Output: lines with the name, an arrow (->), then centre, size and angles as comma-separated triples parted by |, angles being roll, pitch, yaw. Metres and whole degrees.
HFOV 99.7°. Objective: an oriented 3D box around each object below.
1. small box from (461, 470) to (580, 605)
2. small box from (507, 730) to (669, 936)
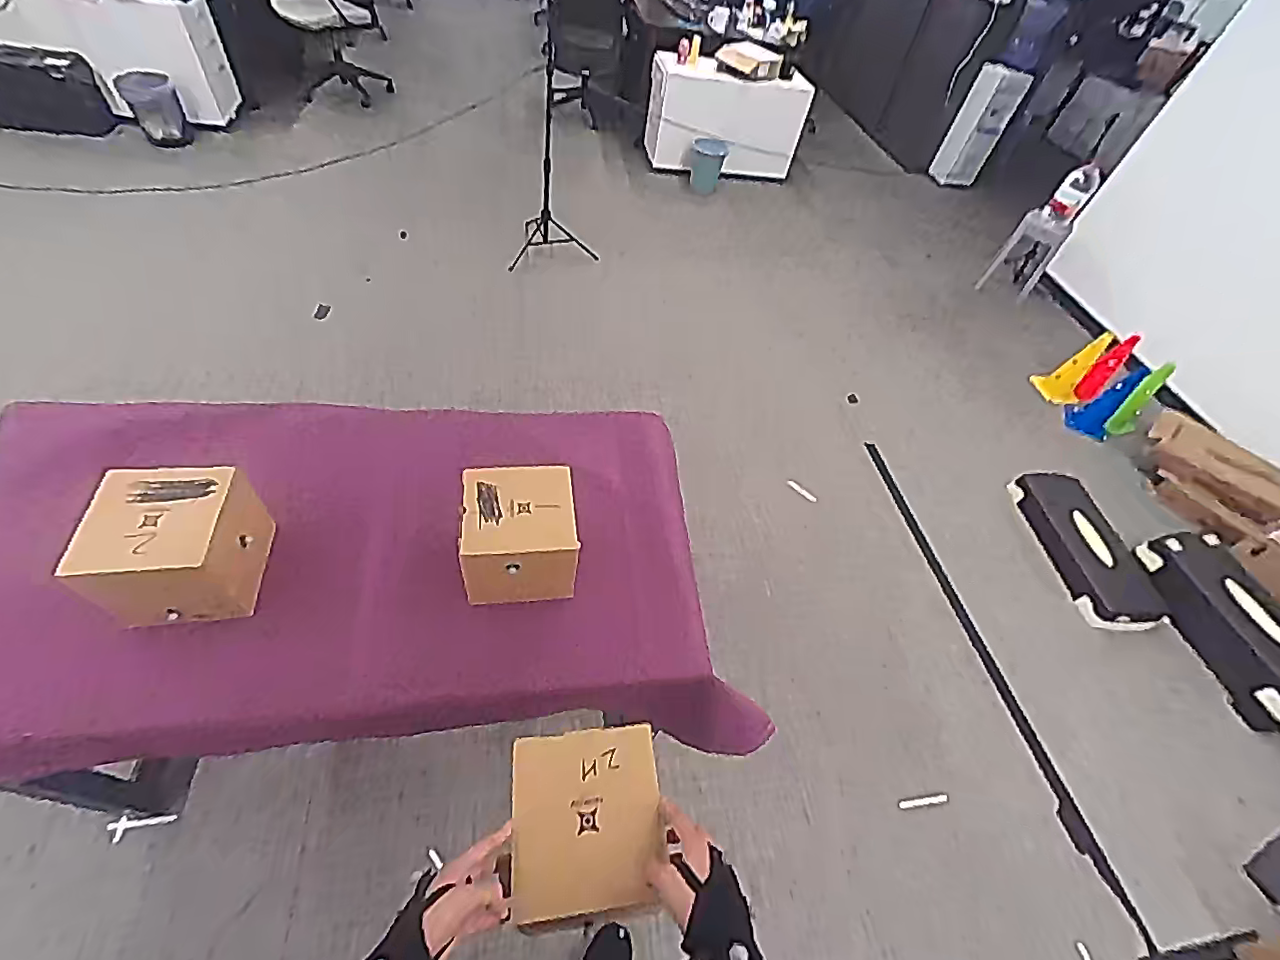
small box -> -0.197, 0.099, 0.912 | 0.179, 0.176, 0.168 | -1, 52, -12
small box -> -0.063, 0.425, 0.649 | 0.168, 0.176, 0.179 | -3, 47, -8
